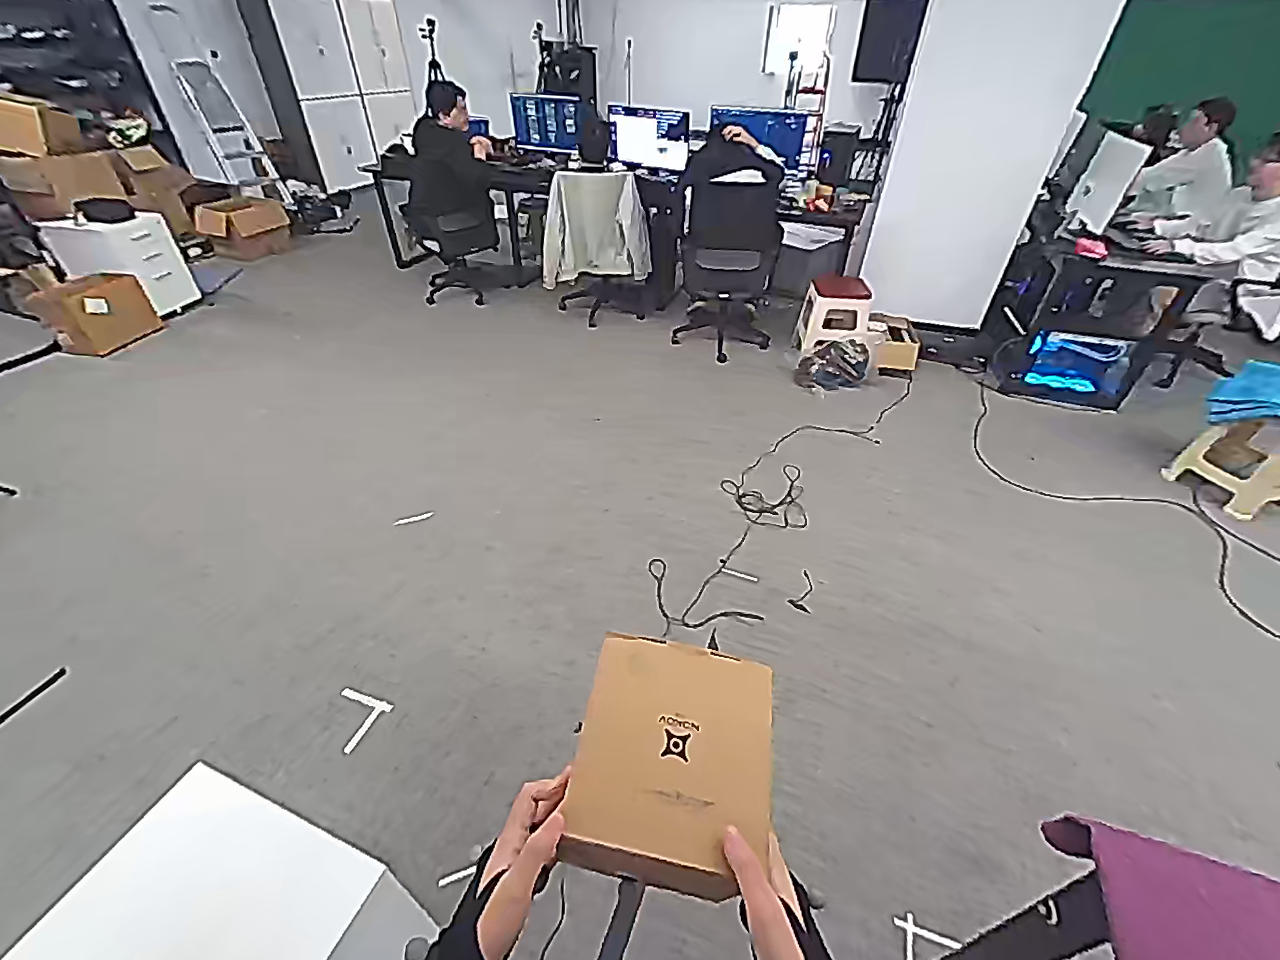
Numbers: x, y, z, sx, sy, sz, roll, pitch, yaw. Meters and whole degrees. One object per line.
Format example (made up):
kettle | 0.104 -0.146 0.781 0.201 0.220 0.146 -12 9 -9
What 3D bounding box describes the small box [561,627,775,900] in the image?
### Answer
small box | 0.023 0.273 0.519 0.168 0.176 0.179 12 48 2
